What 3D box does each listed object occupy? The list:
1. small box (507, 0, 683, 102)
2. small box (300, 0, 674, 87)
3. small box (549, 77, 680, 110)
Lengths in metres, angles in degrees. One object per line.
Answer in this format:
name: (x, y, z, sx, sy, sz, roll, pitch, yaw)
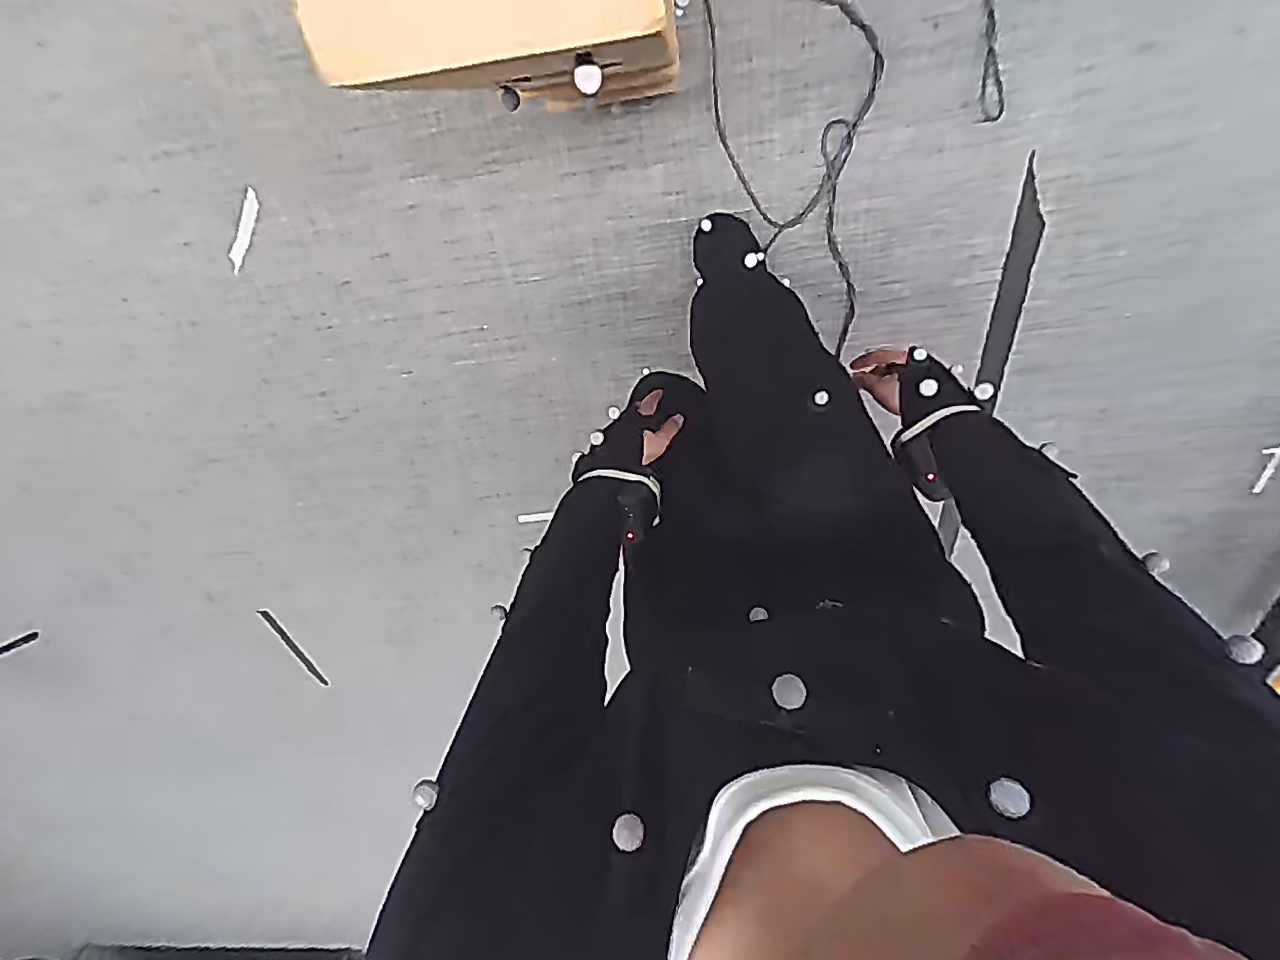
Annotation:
small box: (-0.049, -0.502, 0.553, 0.179, 0.176, 0.168, -3, 126, 9)
small box: (-0.074, -0.316, 0.280, 0.179, 0.176, 0.168, -3, 125, 8)
small box: (-0.038, -0.590, 0.689, 0.168, 0.176, 0.179, -3, 127, 8)
